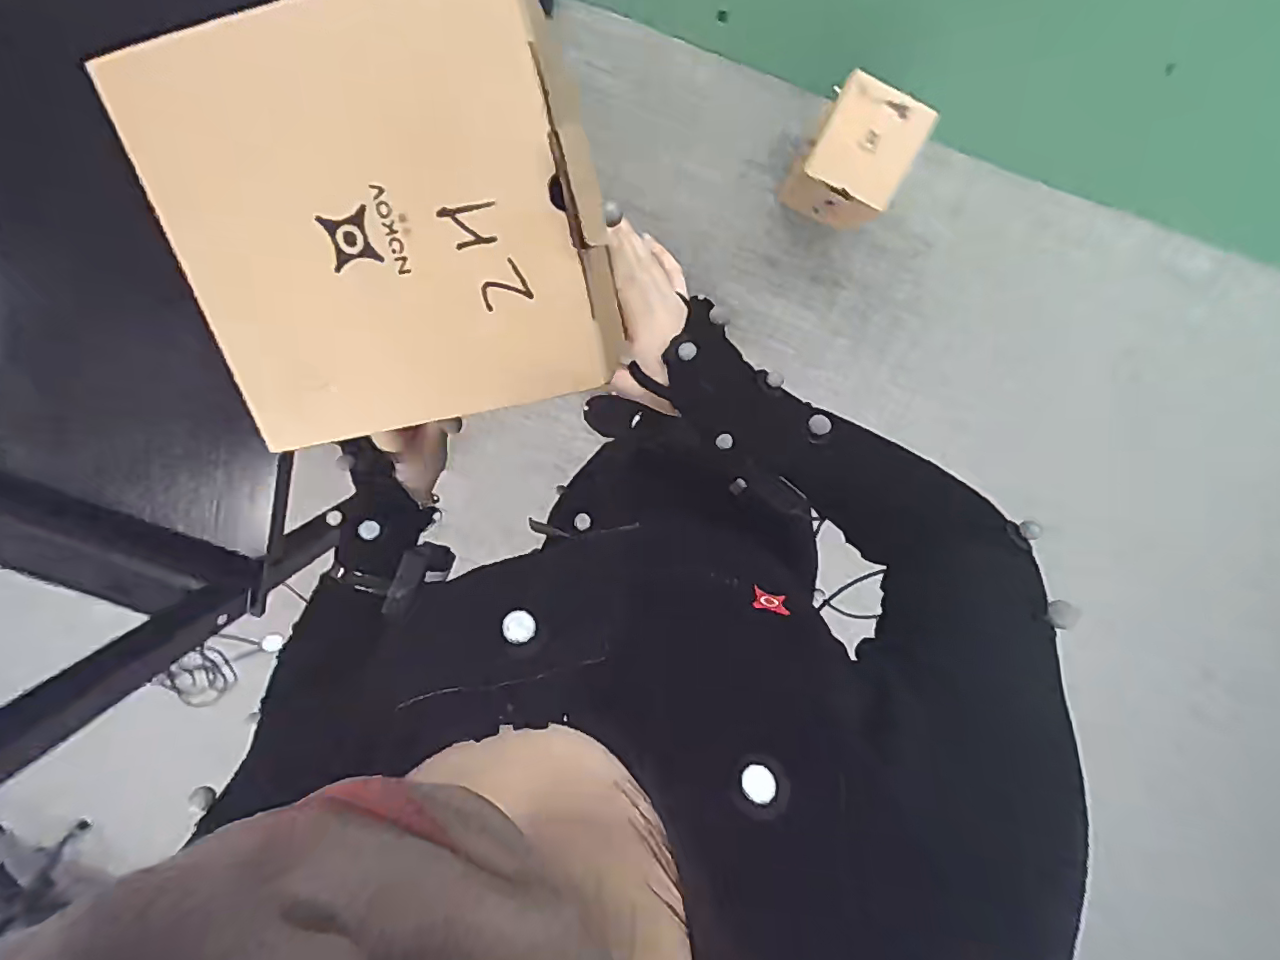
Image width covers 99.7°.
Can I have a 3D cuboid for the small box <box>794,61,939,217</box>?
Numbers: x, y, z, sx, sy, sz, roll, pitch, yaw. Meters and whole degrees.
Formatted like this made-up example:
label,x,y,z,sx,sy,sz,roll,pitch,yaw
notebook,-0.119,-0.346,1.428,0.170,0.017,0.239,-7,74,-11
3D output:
label,x,y,z,sx,sy,sz,roll,pitch,yaw
small box,0.405,-0.616,1.006,0.168,0.176,0.179,26,109,-3
